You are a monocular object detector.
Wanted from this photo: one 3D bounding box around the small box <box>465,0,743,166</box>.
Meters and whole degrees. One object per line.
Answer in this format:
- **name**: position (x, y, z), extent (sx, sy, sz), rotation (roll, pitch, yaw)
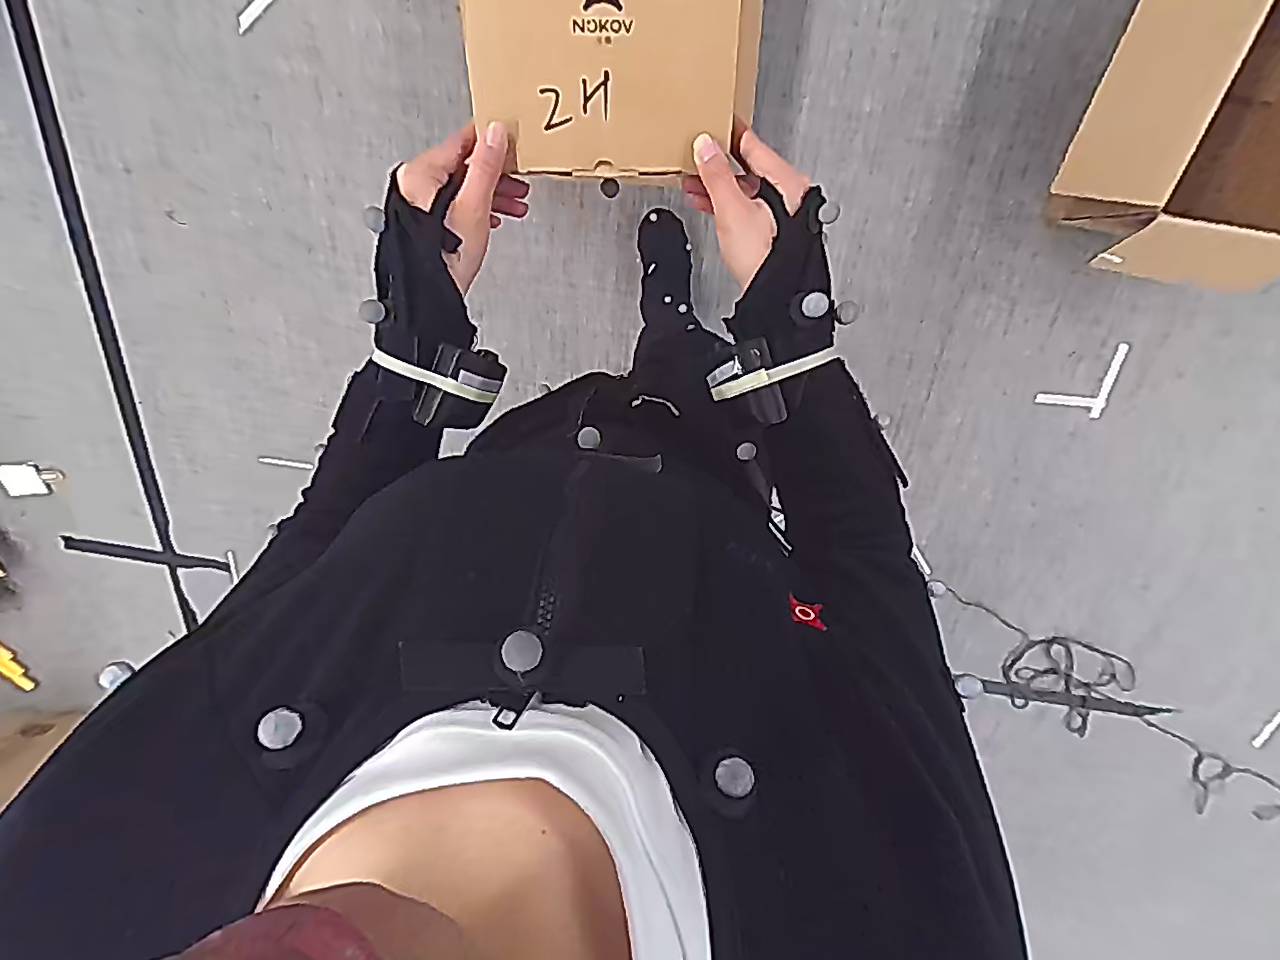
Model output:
- **small box**: position (-0.022, -0.326, 0.382), extent (0.168, 0.176, 0.179), rotation (0, 120, 0)
